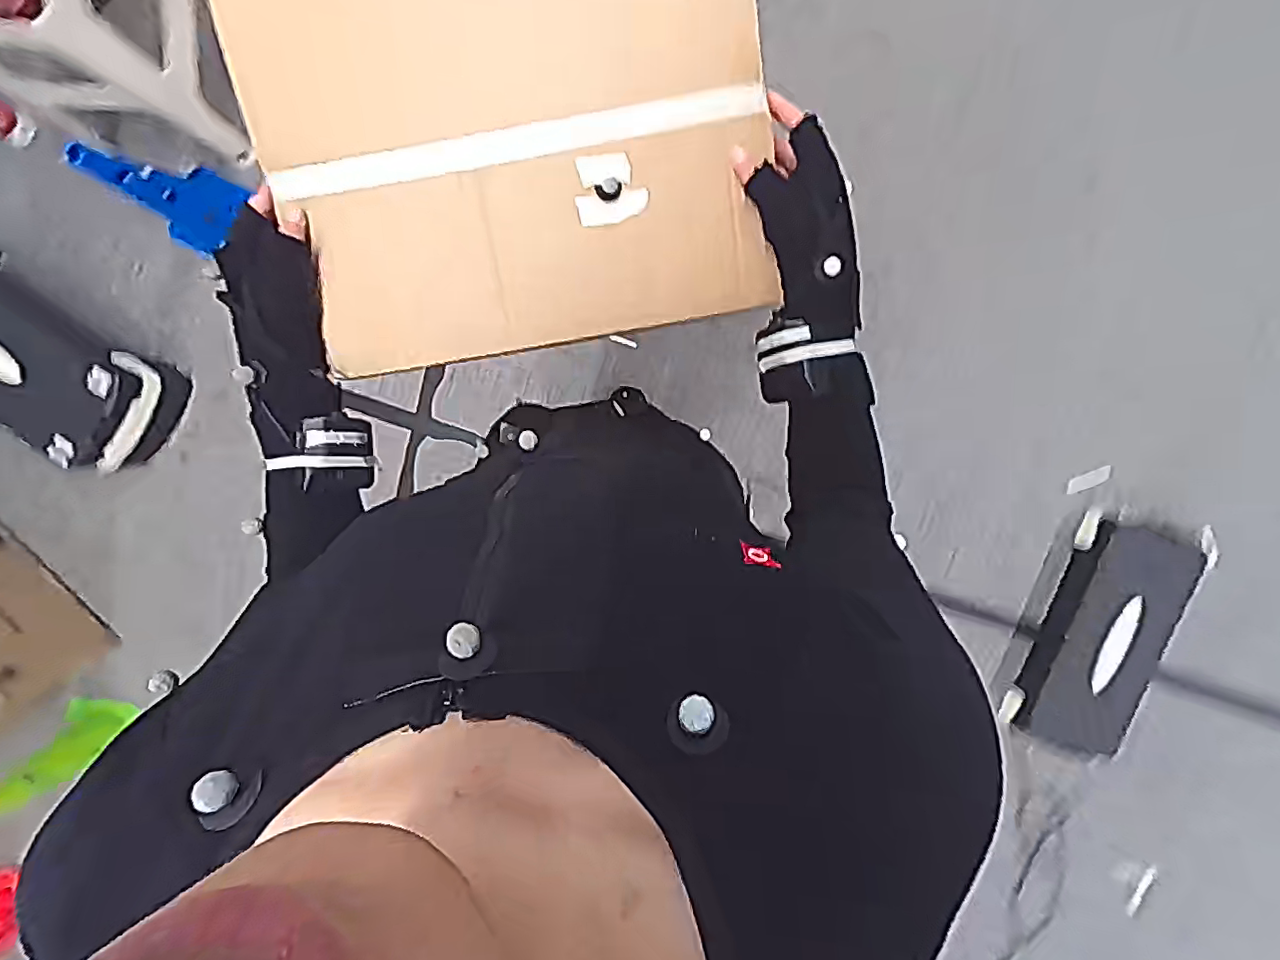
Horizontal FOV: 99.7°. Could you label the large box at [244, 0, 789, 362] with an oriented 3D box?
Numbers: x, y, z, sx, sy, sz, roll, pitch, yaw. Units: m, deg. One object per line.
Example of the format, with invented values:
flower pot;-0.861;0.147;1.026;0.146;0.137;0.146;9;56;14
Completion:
large box;-0.093;-0.323;0.583;0.408;0.320;0.320;-9;107;0
